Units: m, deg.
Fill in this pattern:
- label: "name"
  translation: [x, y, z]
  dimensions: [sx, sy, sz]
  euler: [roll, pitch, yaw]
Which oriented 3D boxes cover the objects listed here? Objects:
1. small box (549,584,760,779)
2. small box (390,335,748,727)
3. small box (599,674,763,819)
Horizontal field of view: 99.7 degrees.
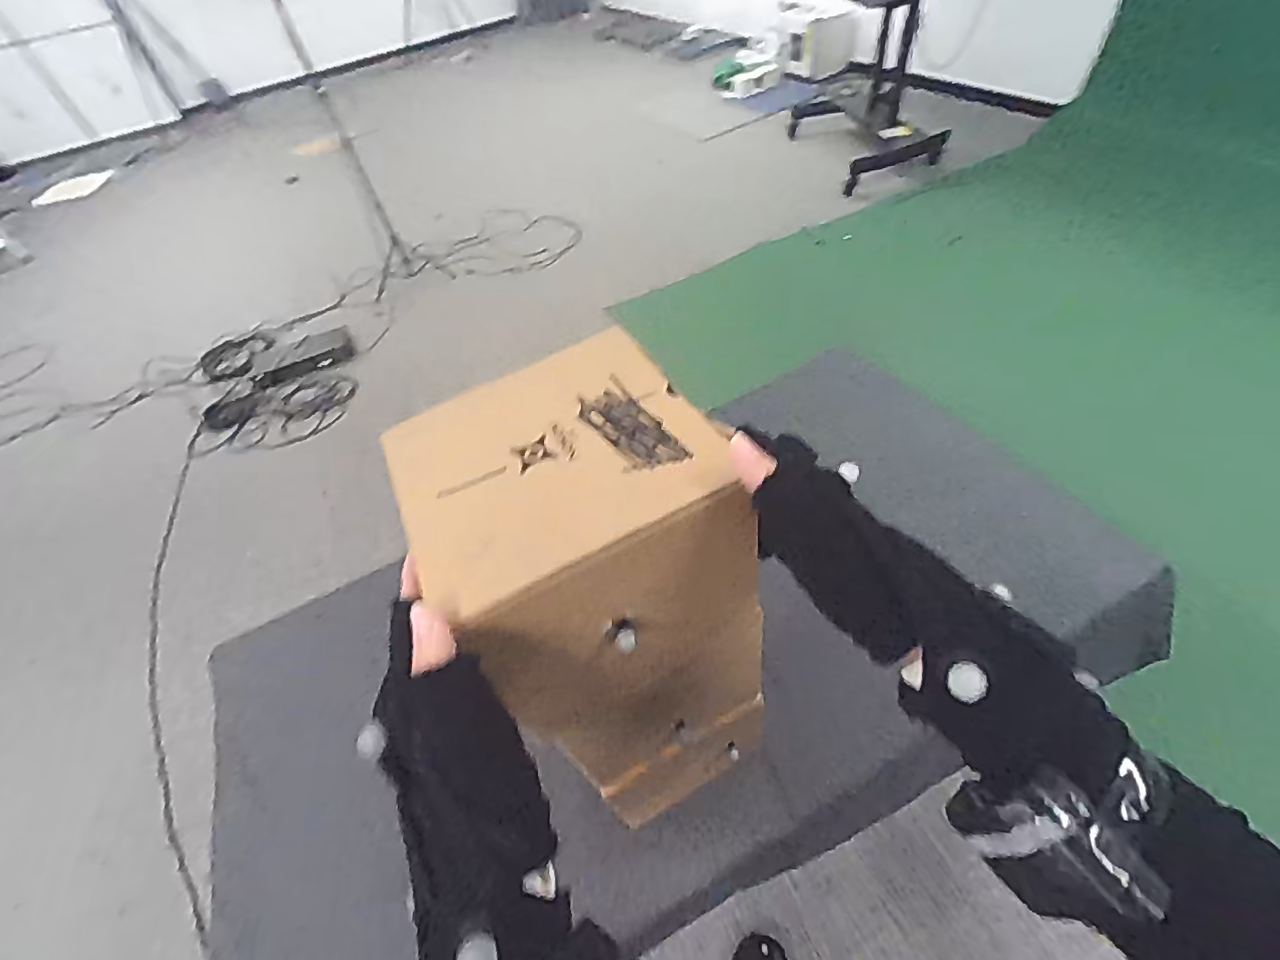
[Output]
- label: "small box"
  translation: [-0.009, 0.139, 0.501]
  dimensions: [0.179, 0.176, 0.168]
  euler: [-26, 49, -12]
- label: "small box"
  translation: [-0.042, 0.035, 0.373]
  dimensions: [0.179, 0.176, 0.168]
  euler: [-24, 47, -9]
- label: "small box"
  translation: [0.021, 0.249, 0.618]
  dimensions: [0.179, 0.176, 0.168]
  euler: [-28, 49, -11]
